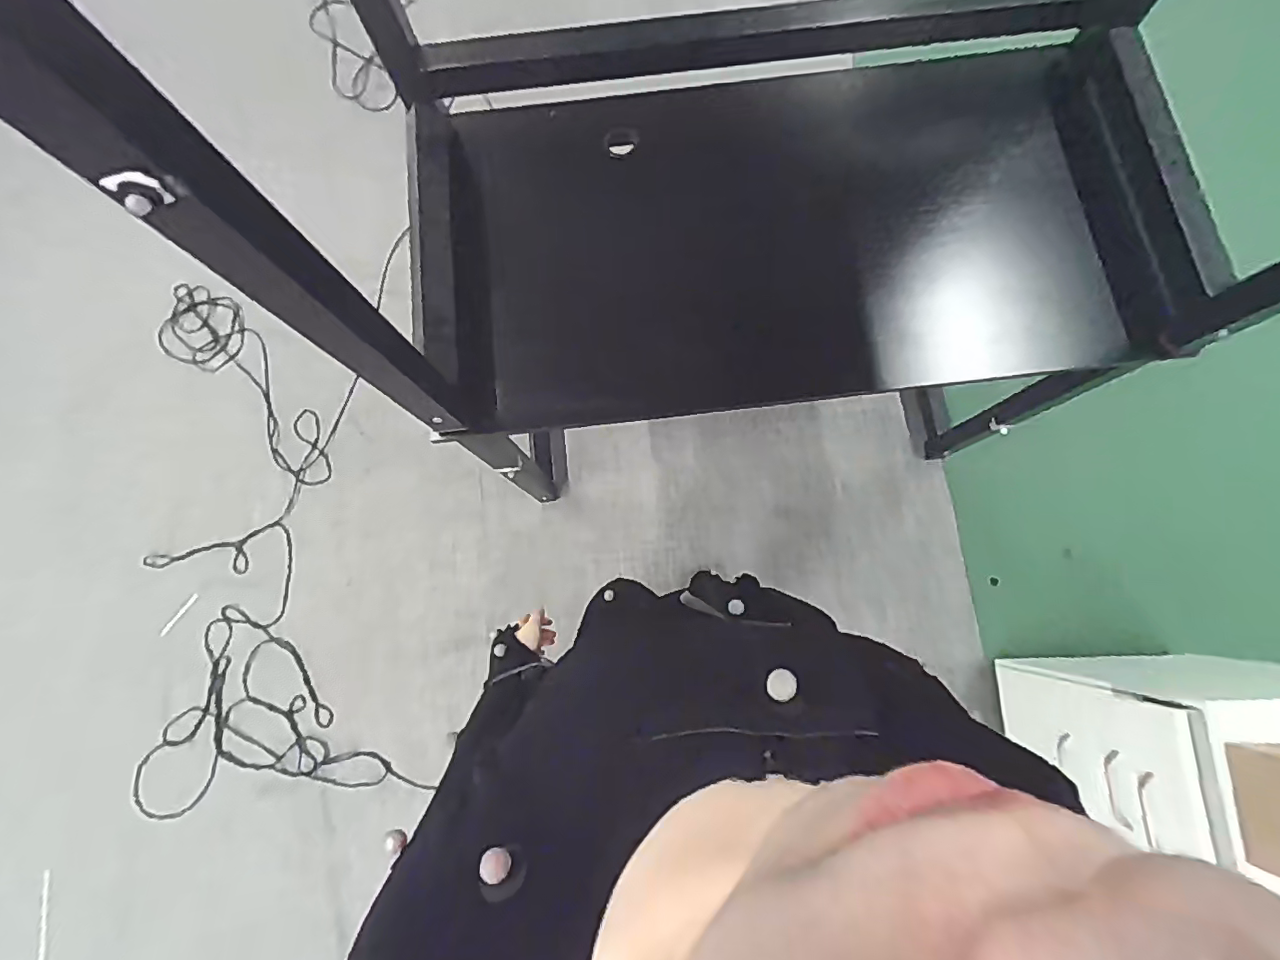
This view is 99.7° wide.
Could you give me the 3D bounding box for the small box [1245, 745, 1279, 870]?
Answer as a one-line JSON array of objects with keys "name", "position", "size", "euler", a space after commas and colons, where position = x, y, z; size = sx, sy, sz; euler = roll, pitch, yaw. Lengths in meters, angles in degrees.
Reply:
[{"name": "small box", "position": [0.998, 0.474, 0.735], "size": [0.168, 0.176, 0.179], "euler": [0, 79, 2]}]
